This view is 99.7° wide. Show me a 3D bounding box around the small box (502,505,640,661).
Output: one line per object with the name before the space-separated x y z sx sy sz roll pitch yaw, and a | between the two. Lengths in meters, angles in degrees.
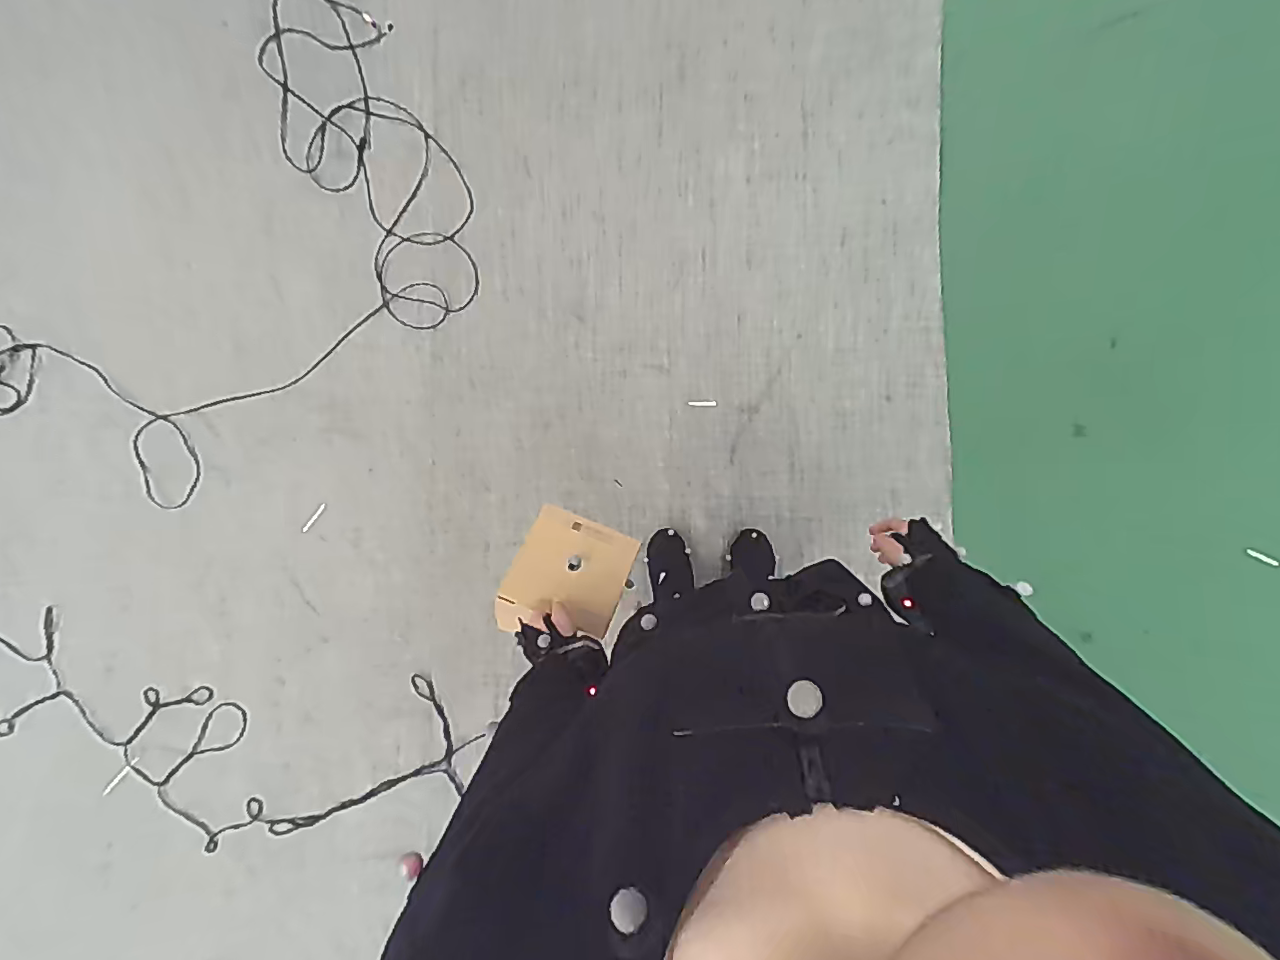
small box | -0.111 0.167 0.875 0.168 0.179 0.176 23 57 0
